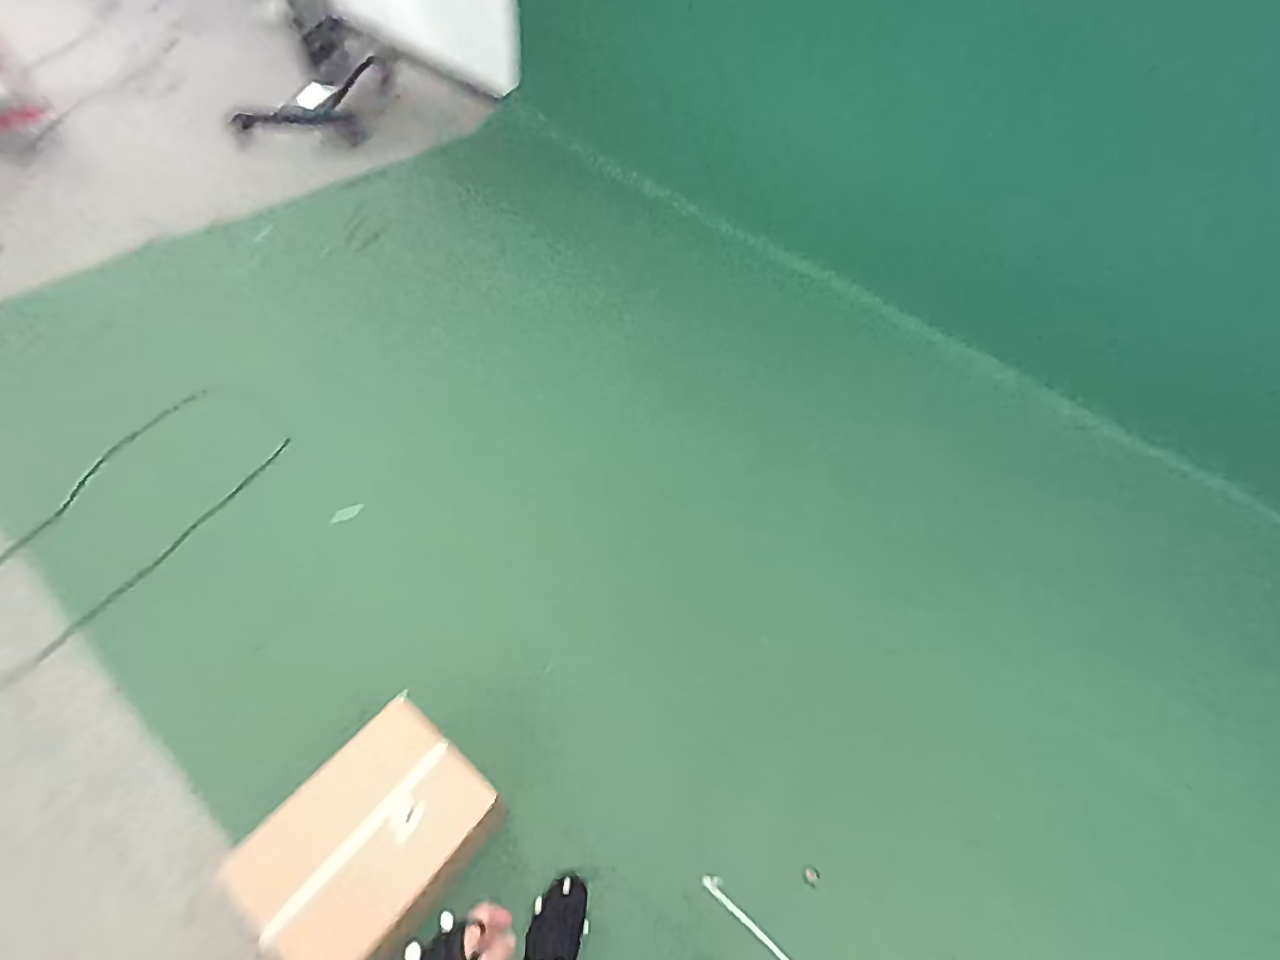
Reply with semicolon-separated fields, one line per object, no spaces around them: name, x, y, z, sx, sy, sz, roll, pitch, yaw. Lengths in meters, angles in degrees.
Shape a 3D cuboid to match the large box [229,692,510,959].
large box;-0.544;0.759;1.177;0.320;0.320;0.408;36;58;17
